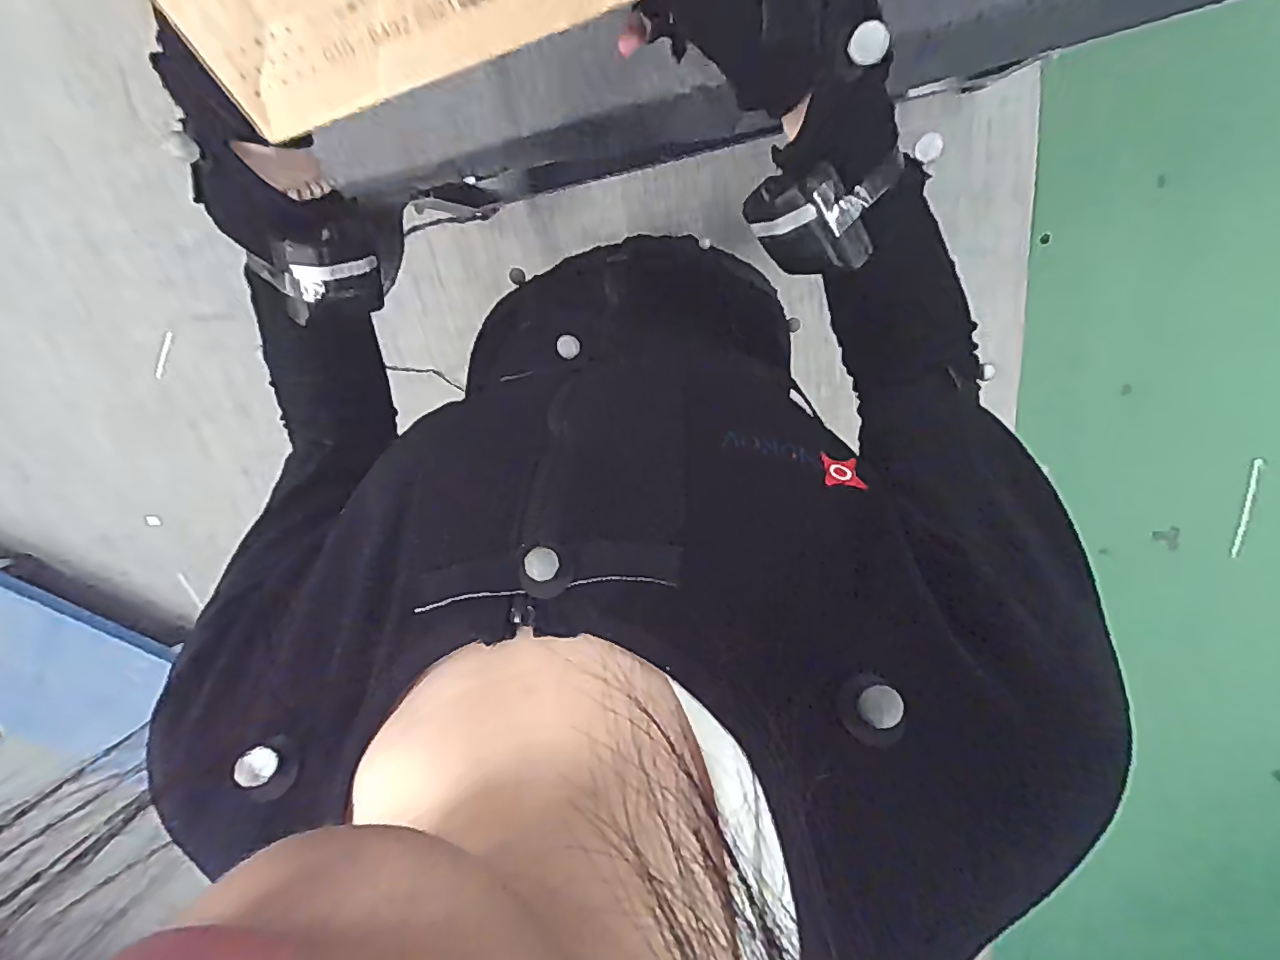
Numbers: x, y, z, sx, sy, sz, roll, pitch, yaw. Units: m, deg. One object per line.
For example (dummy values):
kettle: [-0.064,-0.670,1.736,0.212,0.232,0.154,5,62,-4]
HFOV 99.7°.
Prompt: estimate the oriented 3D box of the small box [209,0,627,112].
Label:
small box: [-0.104,-0.277,0.195,0.168,0.179,0.176,-16,147,6]
